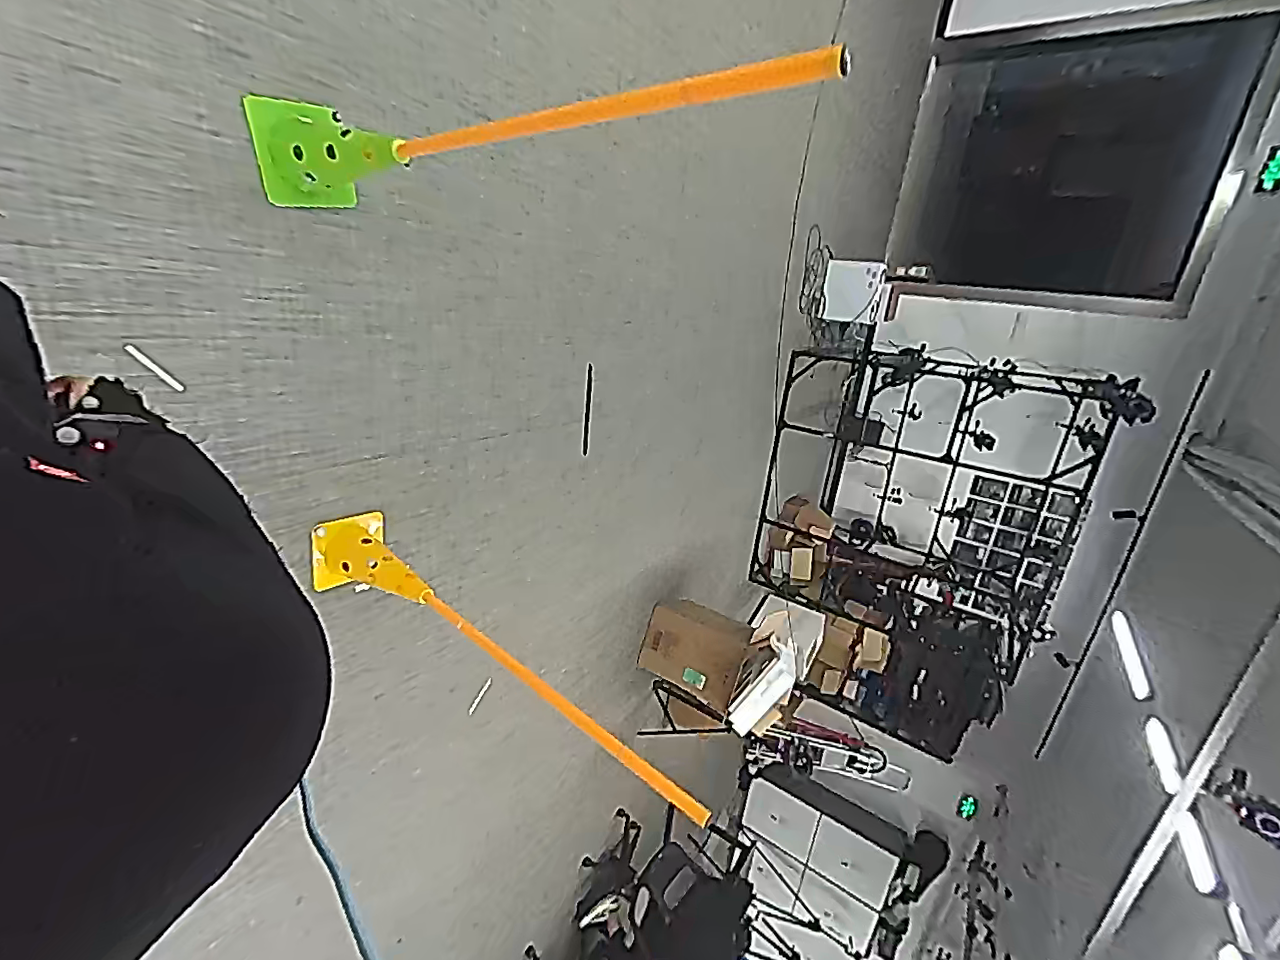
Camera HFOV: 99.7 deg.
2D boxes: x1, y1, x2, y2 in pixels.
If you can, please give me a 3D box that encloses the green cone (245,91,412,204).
[{"bbox_3d":[-0.592,-0.663,1.093,0.200,0.368,0.202,-32,134,-47],"label":"green cone"}]
